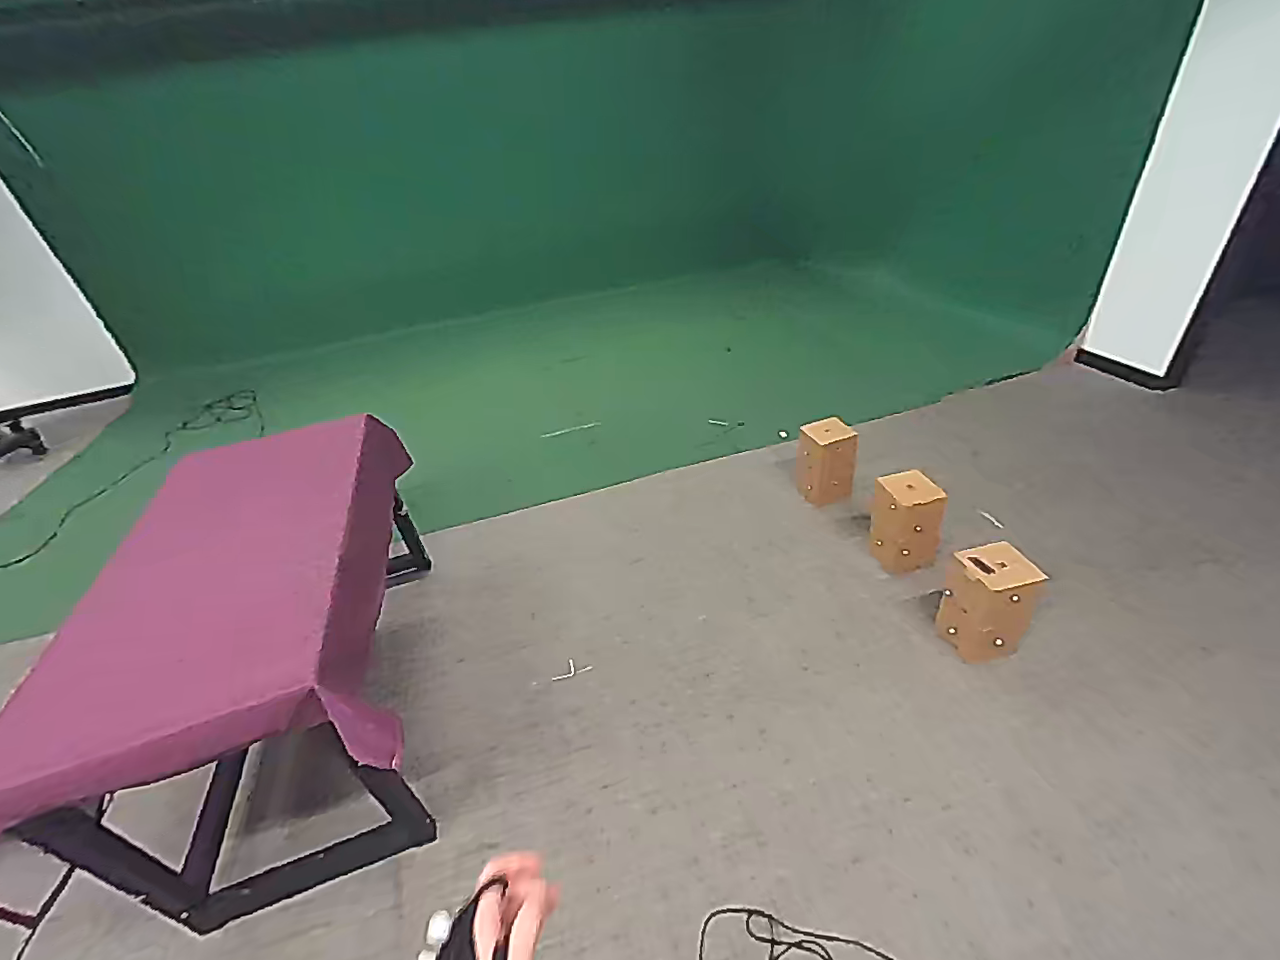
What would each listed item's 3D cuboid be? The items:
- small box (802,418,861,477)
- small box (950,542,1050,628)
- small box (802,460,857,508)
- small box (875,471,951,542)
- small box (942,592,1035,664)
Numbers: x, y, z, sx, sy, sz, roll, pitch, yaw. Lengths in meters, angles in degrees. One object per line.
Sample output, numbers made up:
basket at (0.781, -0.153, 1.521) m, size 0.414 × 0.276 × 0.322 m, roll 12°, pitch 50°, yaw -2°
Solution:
small box at (0.803, -0.134, 2.283) m, size 0.179 × 0.176 × 0.168 m, roll -16°, pitch 37°, yaw -10°
small box at (1.049, 0.313, 1.594) m, size 0.179 × 0.176 × 0.168 m, roll -12°, pitch 35°, yaw -5°
small box at (0.828, -0.001, 2.377) m, size 0.179 × 0.176 × 0.168 m, roll -15°, pitch 36°, yaw -9°
small box at (0.962, 0.094, 1.925) m, size 0.168 × 0.176 × 0.179 m, roll -12°, pitch 35°, yaw -5°
small box at (1.075, 0.446, 1.688) m, size 0.179 × 0.176 × 0.168 m, roll -14°, pitch 36°, yaw -6°
